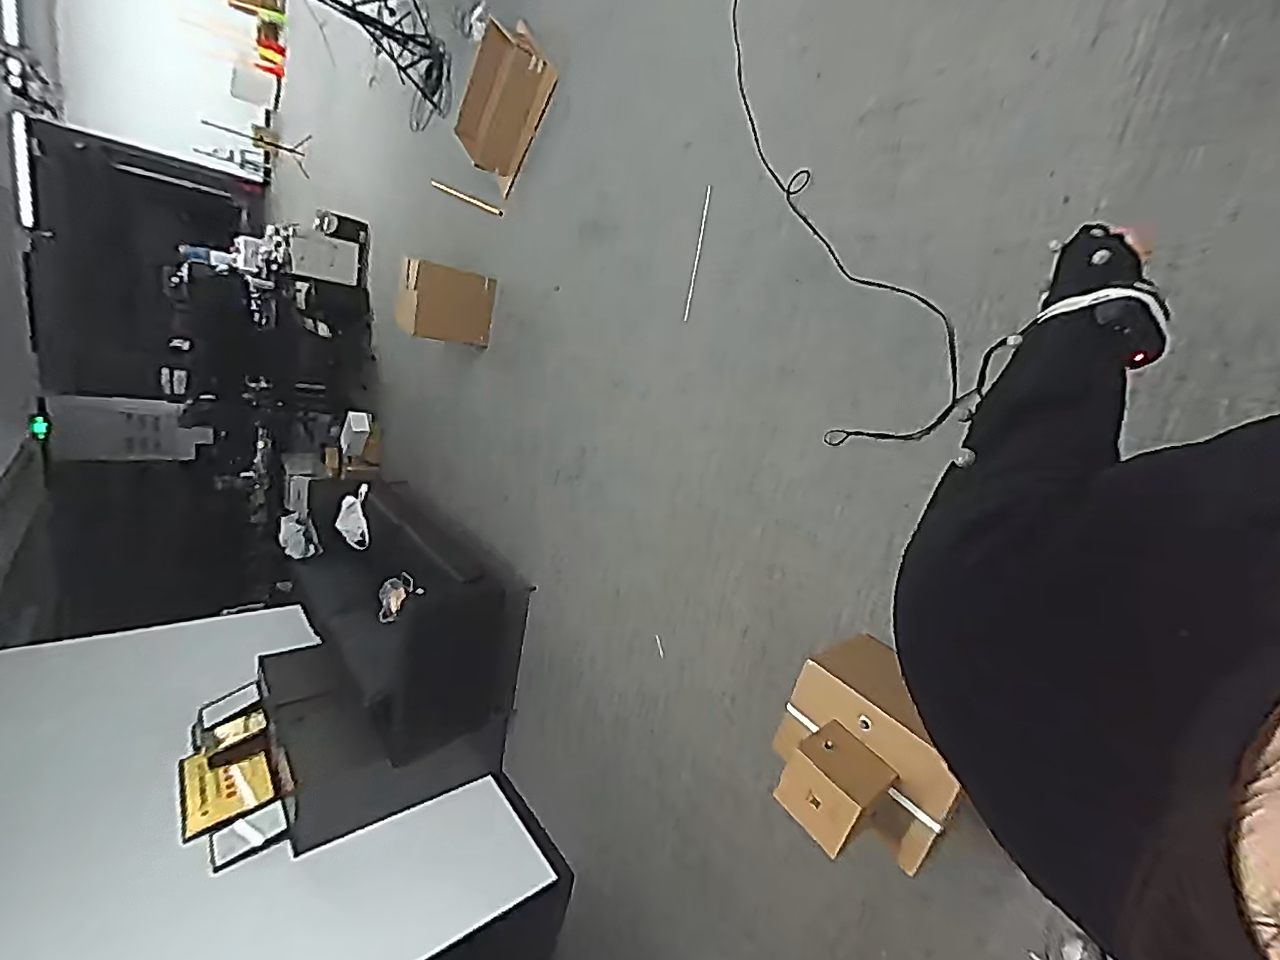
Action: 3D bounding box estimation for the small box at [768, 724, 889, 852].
[{"bbox_3d":[0.436,0.697,1.253,0.179,0.176,0.168,35,120,41],"label":"small box"}]
